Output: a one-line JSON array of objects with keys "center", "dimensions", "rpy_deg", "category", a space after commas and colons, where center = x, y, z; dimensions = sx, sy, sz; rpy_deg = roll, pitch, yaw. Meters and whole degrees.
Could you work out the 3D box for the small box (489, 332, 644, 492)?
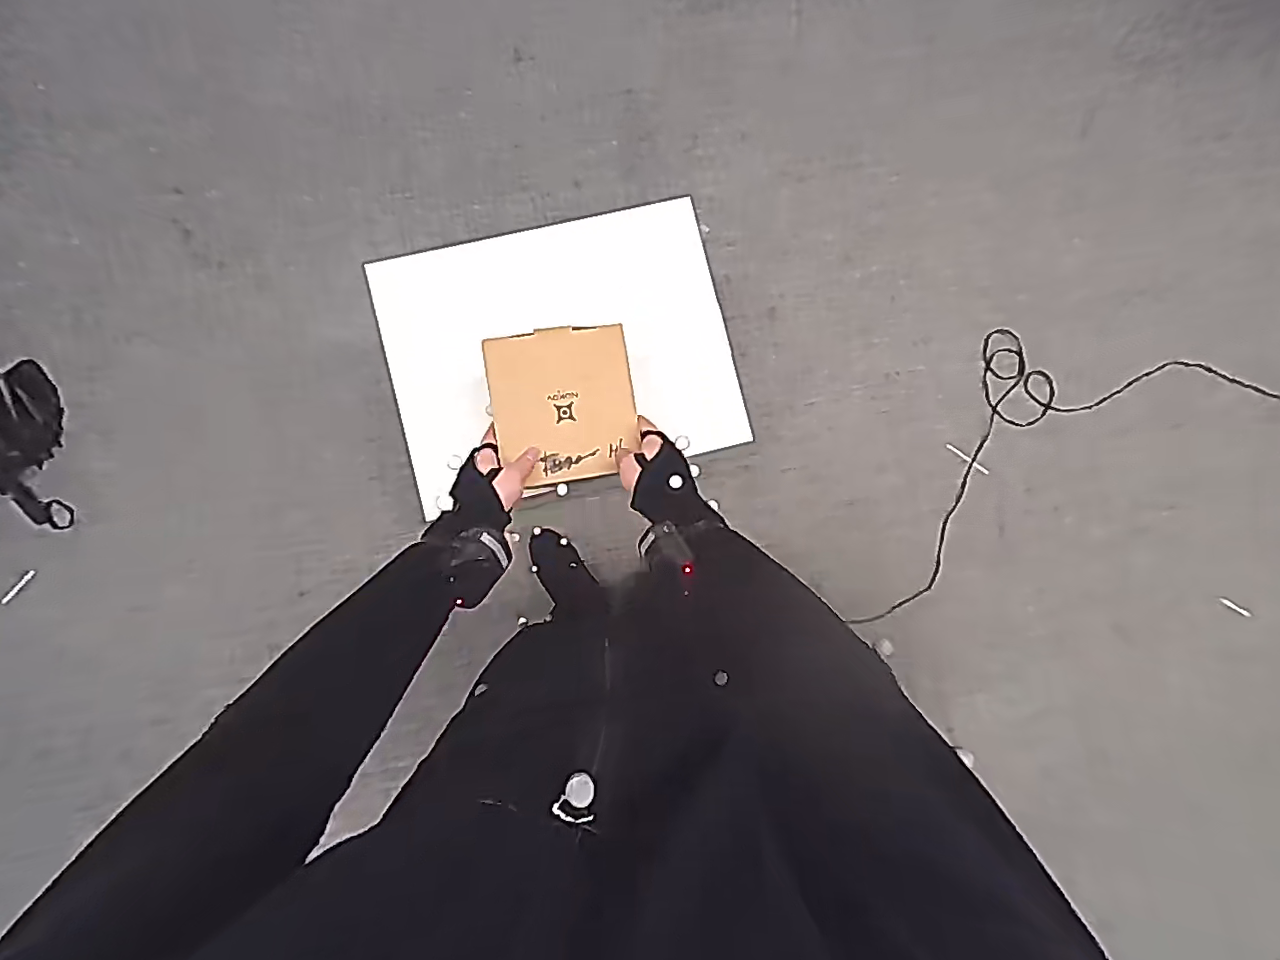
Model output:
[{"center": [-0.097, -0.080, 0.718], "dimensions": [0.168, 0.176, 0.179], "rpy_deg": [-9, 90, -8], "category": "small box"}]
